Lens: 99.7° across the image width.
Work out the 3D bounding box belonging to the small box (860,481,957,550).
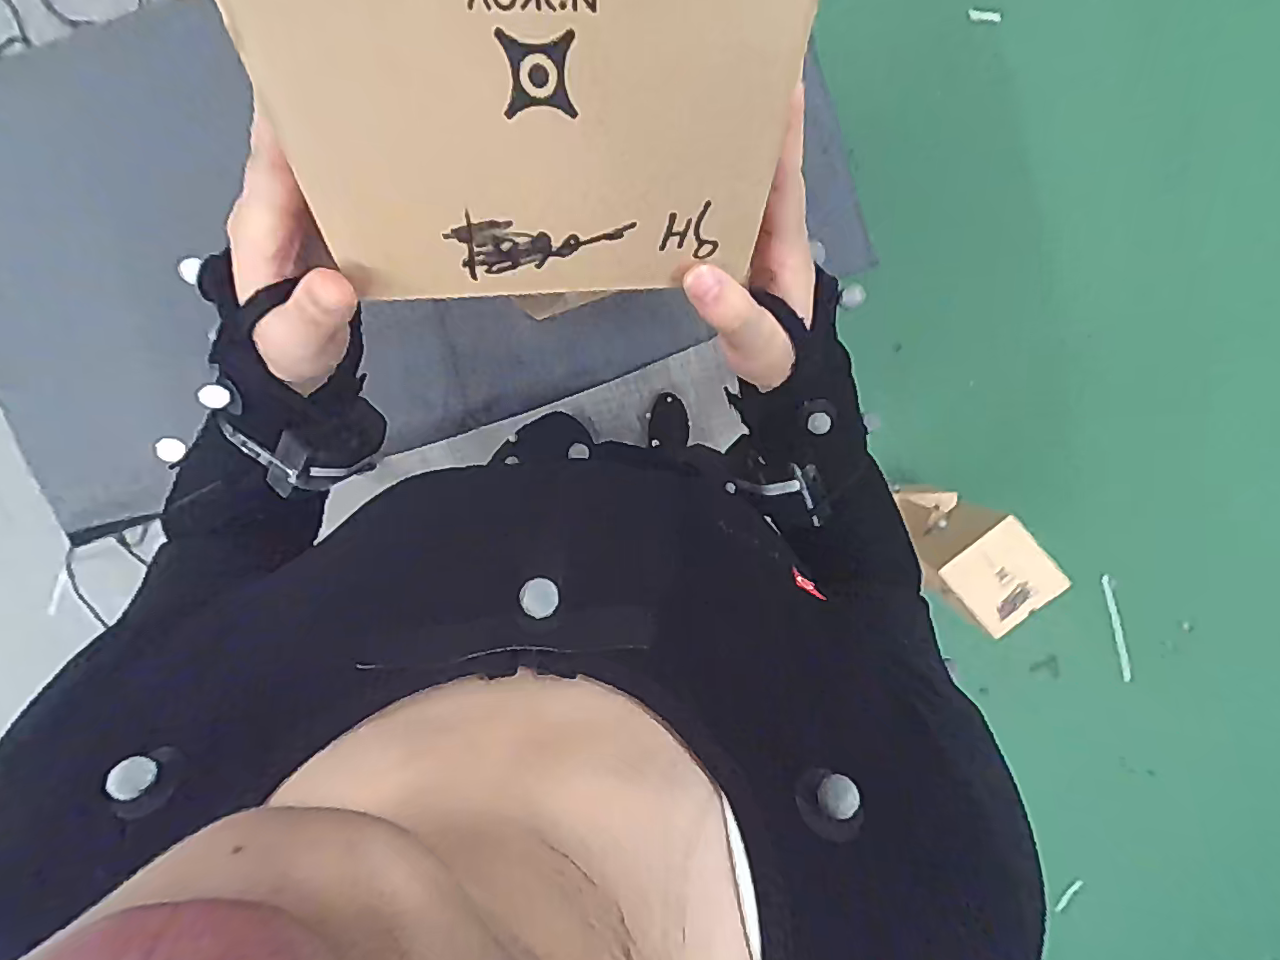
[{"bbox_3d":[0.677,0.095,1.381,0.179,0.176,0.168,-2,98,3],"label":"small box"}]

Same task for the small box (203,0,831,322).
[{"bbox_3d":[-0.041,-0.184,0.198,0.168,0.179,0.176,-5,56,-8],"label":"small box"}]

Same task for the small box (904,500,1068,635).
[{"bbox_3d":[0.665,0.161,1.061,0.168,0.176,0.179,-41,93,8],"label":"small box"}]

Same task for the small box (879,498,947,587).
[{"bbox_3d":[0.675,0.147,1.224,0.179,0.176,0.168,18,100,-1],"label":"small box"}]
